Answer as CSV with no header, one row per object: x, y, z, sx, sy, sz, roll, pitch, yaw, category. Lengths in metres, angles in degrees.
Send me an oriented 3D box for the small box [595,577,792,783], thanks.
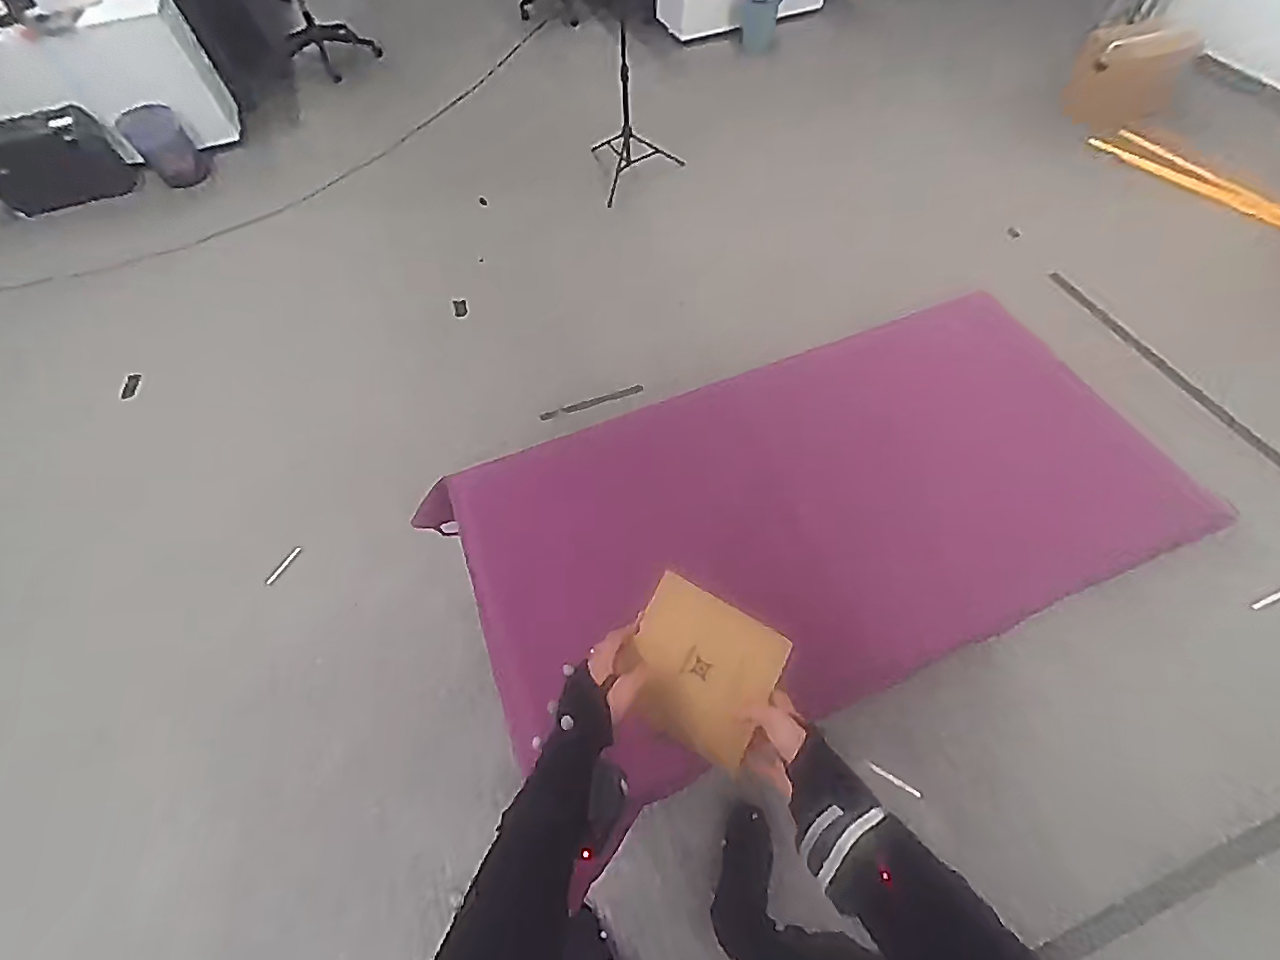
0.062,0.252,0.690,0.179,0.176,0.168,29,71,10,small box
